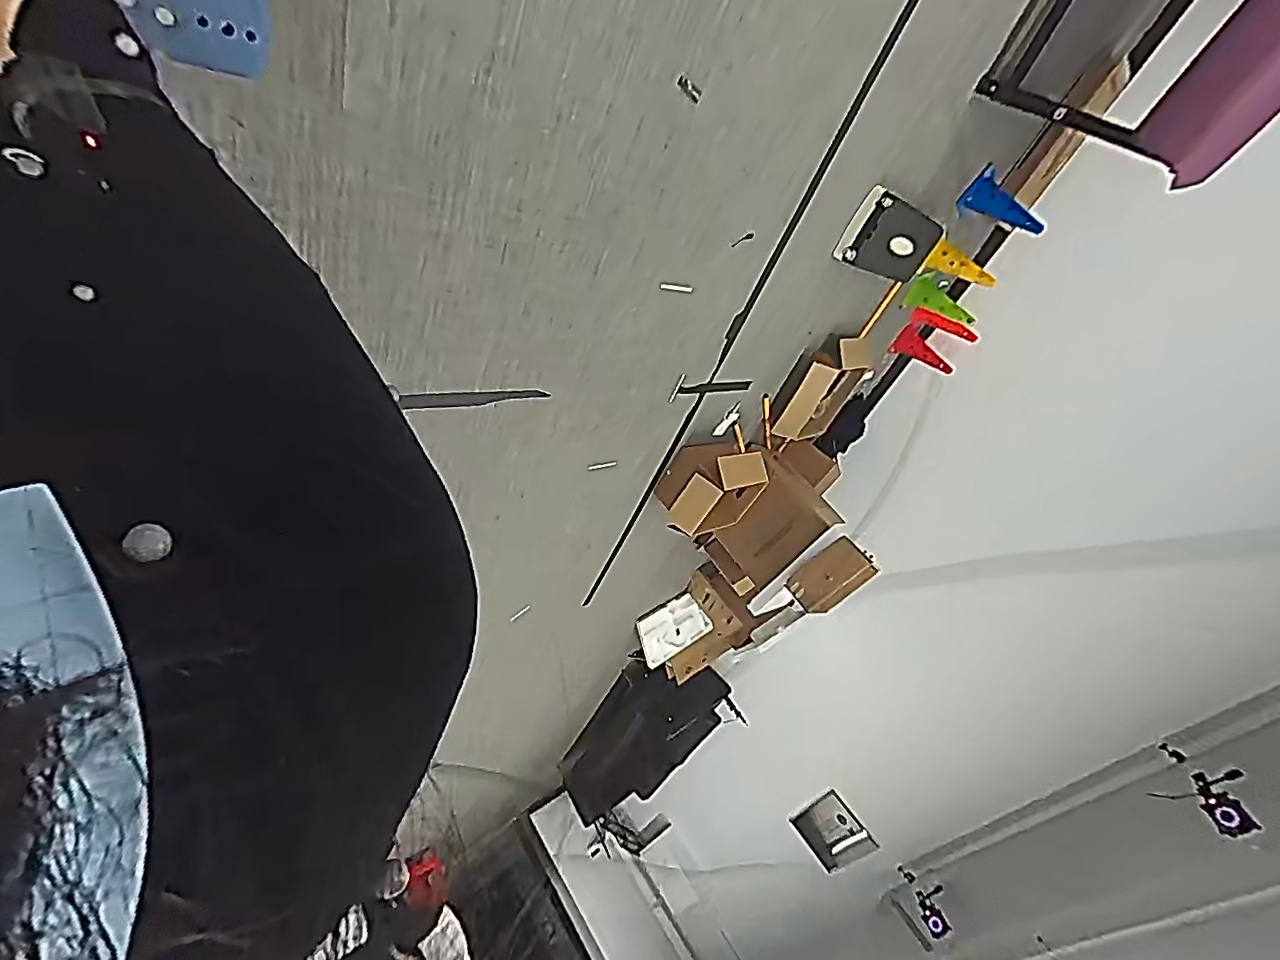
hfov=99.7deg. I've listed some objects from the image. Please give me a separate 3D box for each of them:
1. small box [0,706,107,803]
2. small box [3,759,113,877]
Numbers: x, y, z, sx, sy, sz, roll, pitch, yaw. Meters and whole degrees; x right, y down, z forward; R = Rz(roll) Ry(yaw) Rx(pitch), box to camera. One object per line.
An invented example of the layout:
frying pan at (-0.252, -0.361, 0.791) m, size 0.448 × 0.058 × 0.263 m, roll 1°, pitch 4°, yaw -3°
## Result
small box at (-1.564, 0.732, 1.429) m, size 0.168 × 0.176 × 0.179 m, roll -23°, pitch 148°, yaw -35°
small box at (-1.465, 0.845, 1.366) m, size 0.168 × 0.176 × 0.179 m, roll -12°, pitch 141°, yaw -45°
